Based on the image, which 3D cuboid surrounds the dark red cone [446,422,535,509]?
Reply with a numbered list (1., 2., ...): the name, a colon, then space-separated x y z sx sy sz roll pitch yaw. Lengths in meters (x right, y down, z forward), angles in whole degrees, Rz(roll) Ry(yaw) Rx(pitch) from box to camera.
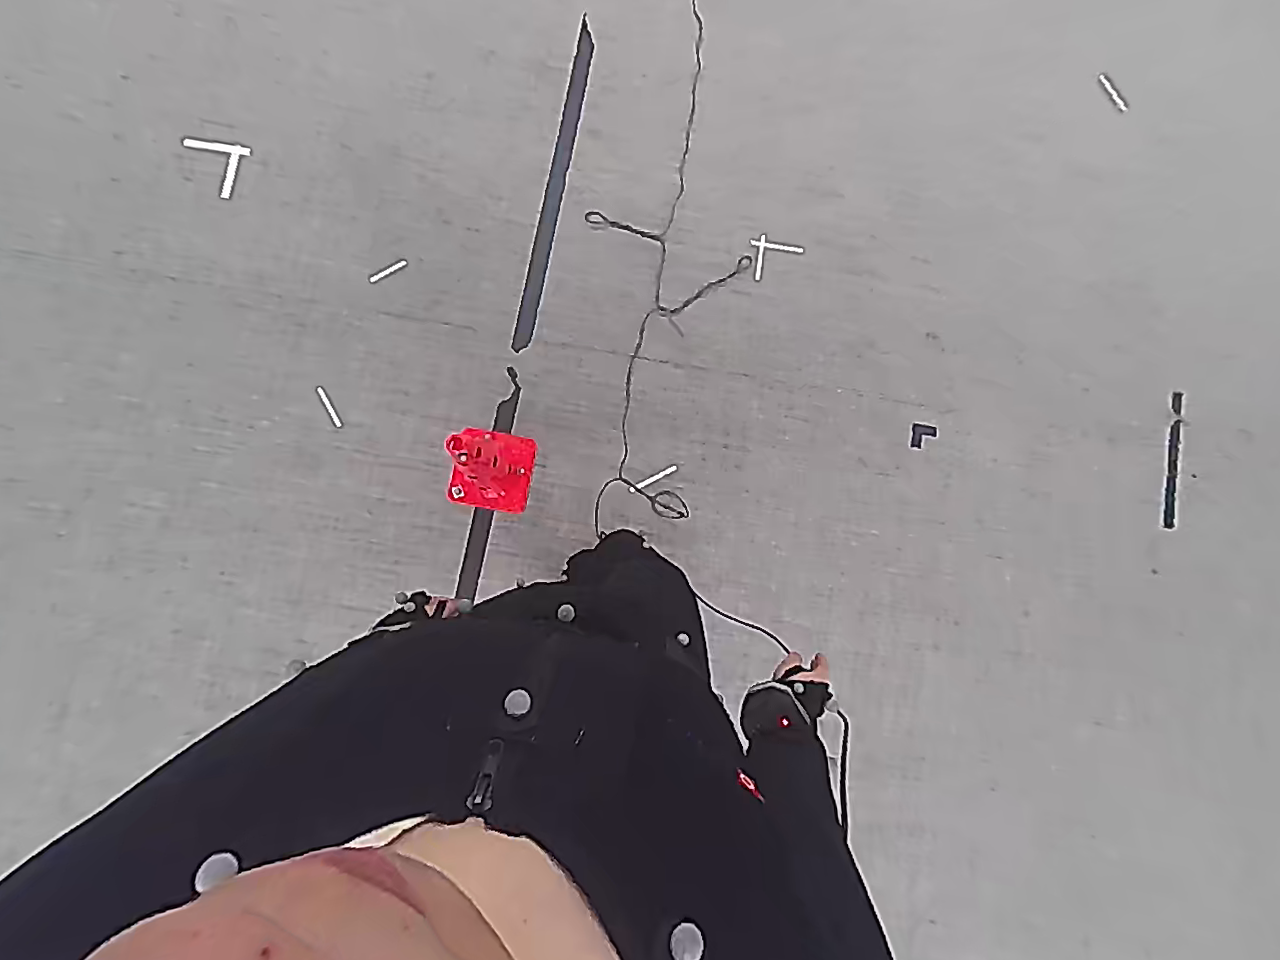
1. dark red cone: -0.361 -0.060 1.201 0.201 0.394 0.202 10 82 -4
